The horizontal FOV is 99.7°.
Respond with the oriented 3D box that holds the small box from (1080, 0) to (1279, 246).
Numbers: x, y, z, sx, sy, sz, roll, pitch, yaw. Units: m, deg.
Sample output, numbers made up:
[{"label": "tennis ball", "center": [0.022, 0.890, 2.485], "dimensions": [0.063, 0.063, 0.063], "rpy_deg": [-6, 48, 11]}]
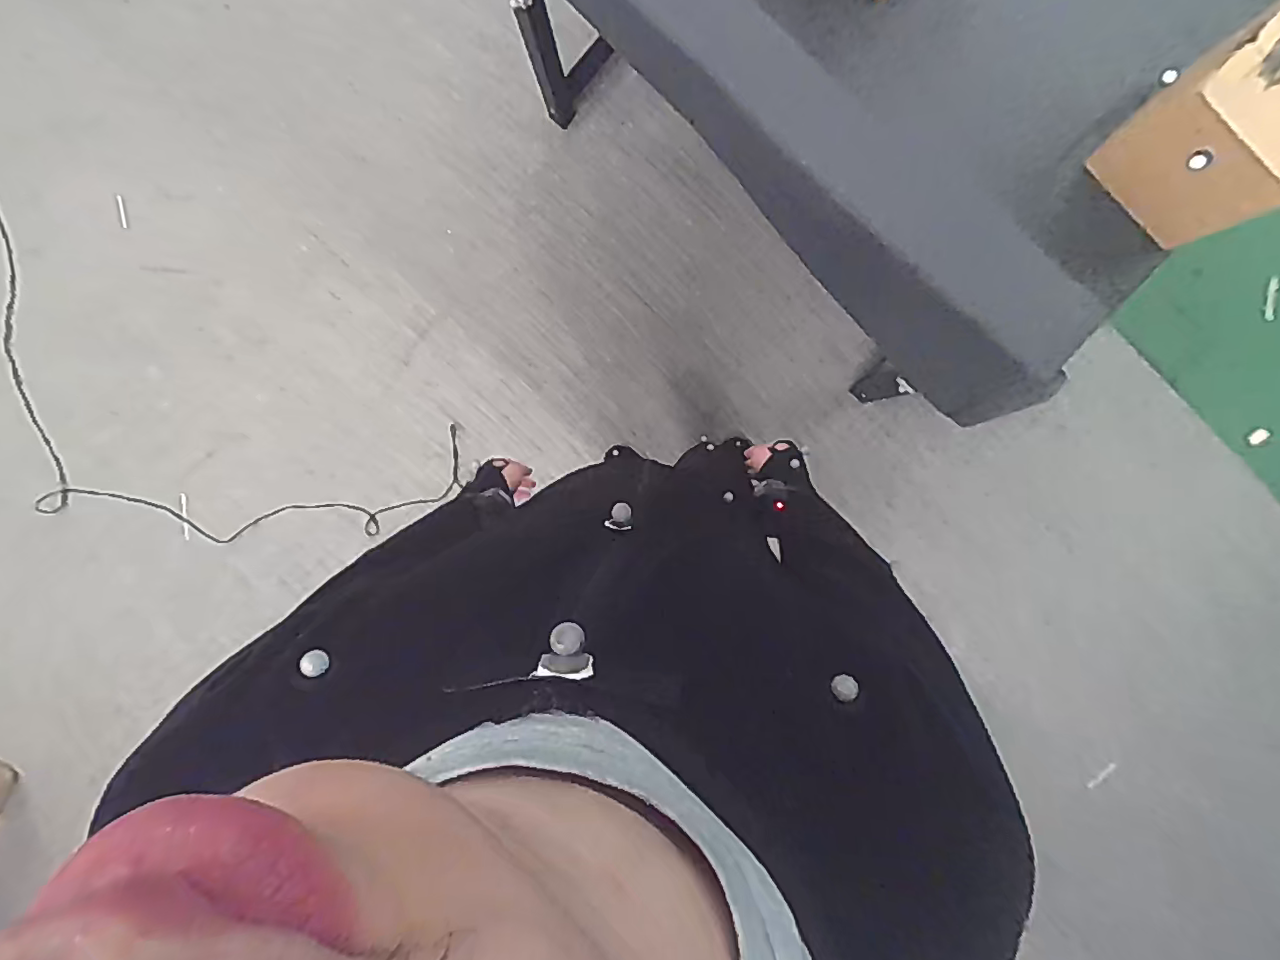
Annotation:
[{"label": "small box", "center": [0.744, -0.445, 0.704], "dimensions": [0.179, 0.176, 0.168], "rpy_deg": [44, 92, -3]}]
